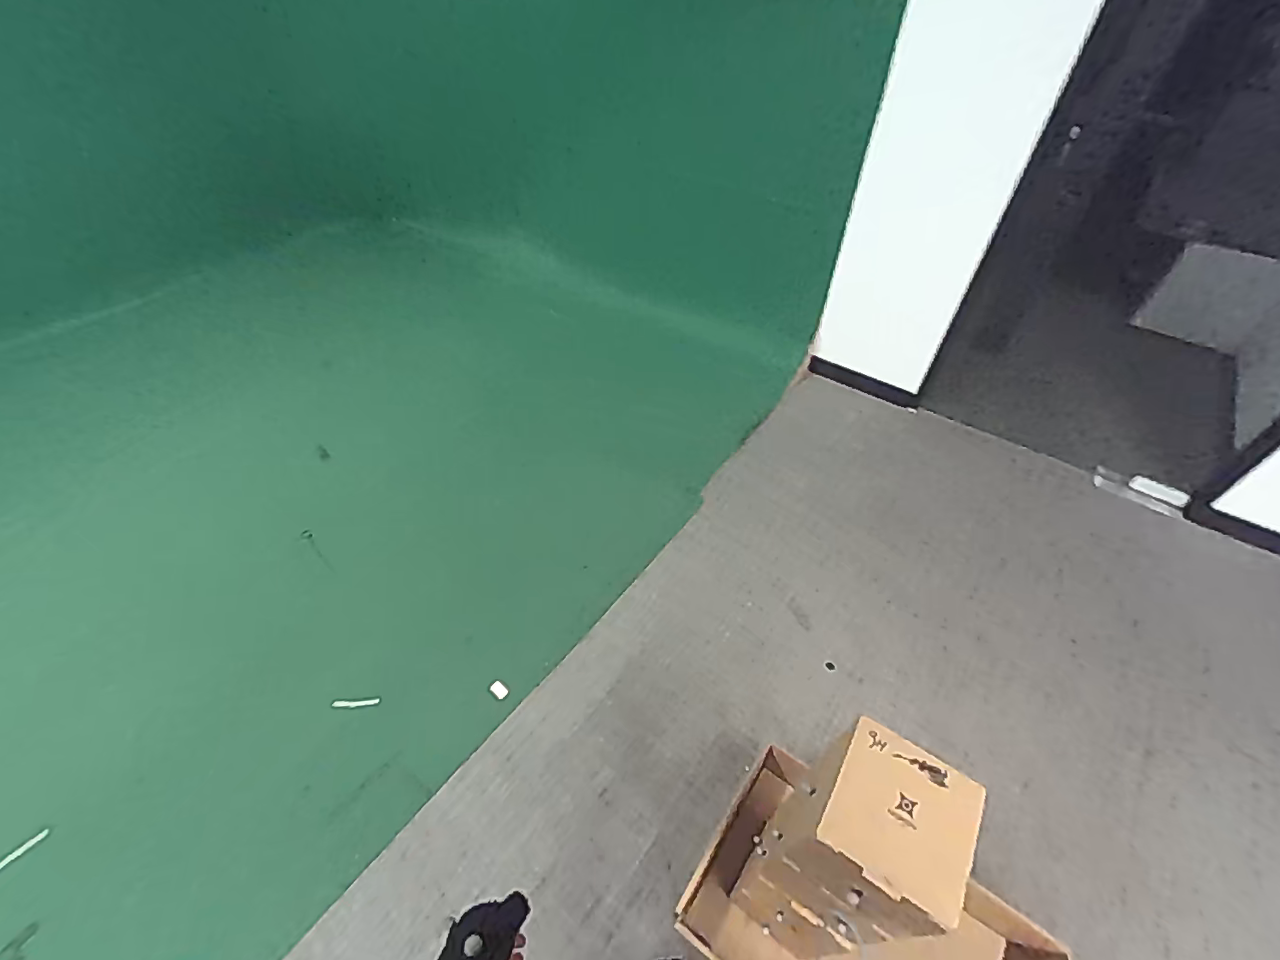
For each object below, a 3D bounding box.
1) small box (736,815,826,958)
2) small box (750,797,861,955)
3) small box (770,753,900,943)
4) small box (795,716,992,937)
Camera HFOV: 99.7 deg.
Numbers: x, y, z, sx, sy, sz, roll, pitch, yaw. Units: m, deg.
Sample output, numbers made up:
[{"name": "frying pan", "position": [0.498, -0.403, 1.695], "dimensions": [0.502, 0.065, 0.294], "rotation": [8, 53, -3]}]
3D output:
[{"name": "small box", "position": [0.308, 0.796, 1.076], "dimensions": [0.168, 0.176, 0.179], "rotation": [30, 54, 24]}, {"name": "small box", "position": [0.312, 0.686, 0.956], "dimensions": [0.168, 0.176, 0.179], "rotation": [29, 53, 23]}, {"name": "small box", "position": [0.317, 0.572, 0.839], "dimensions": [0.168, 0.176, 0.179], "rotation": [29, 53, 21]}, {"name": "small box", "position": [0.324, 0.460, 0.719], "dimensions": [0.168, 0.176, 0.179], "rotation": [29, 54, 21]}]
